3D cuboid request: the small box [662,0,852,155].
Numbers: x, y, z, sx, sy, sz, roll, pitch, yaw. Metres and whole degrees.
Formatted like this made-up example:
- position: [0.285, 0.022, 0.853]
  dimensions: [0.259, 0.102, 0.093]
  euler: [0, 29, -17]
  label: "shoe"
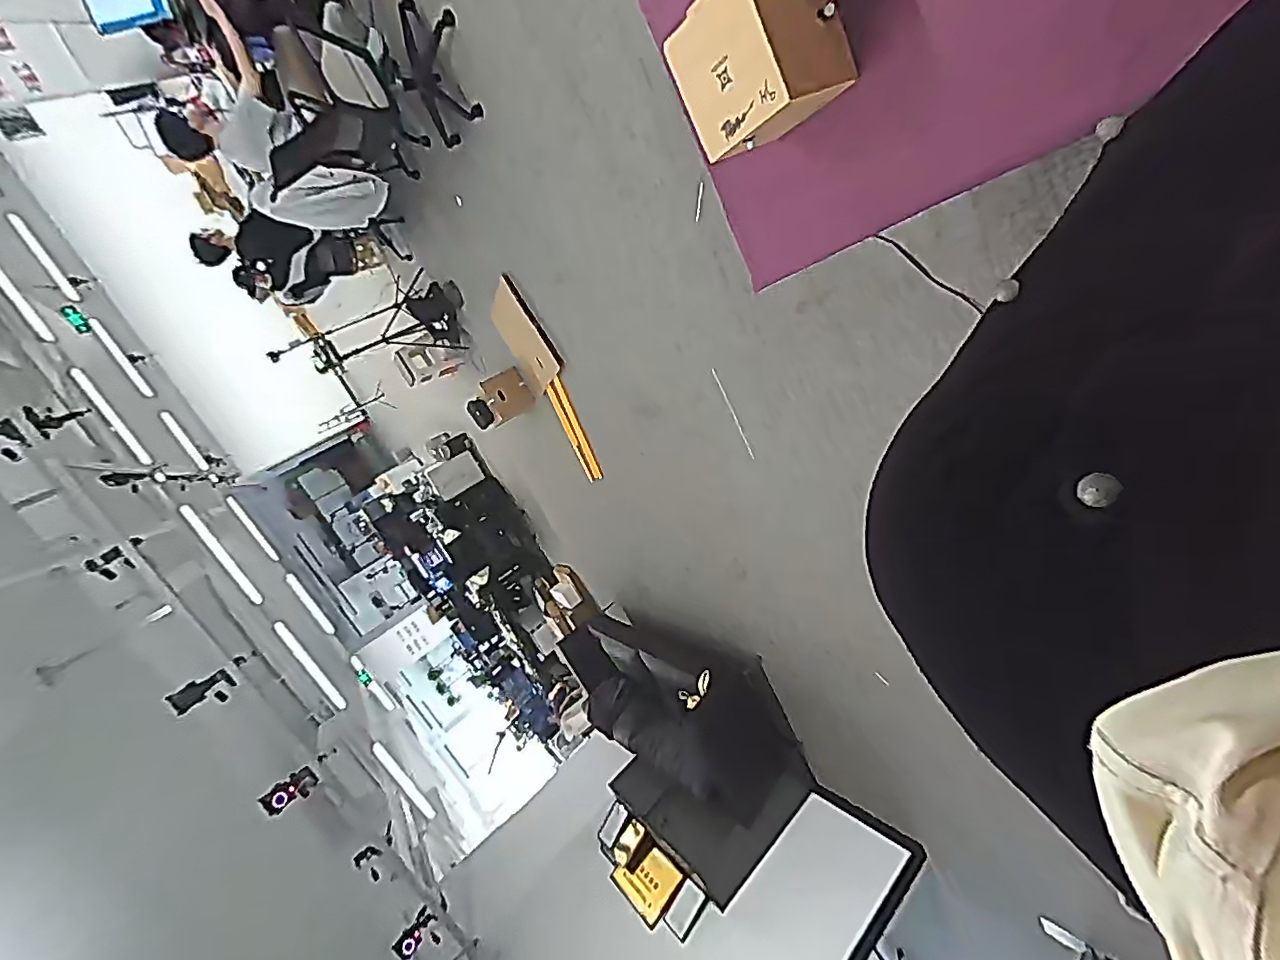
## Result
- position: [0.169, -0.612, 0.779]
  dimensions: [0.168, 0.176, 0.179]
  euler: [2, 122, 59]
  label: "small box"
